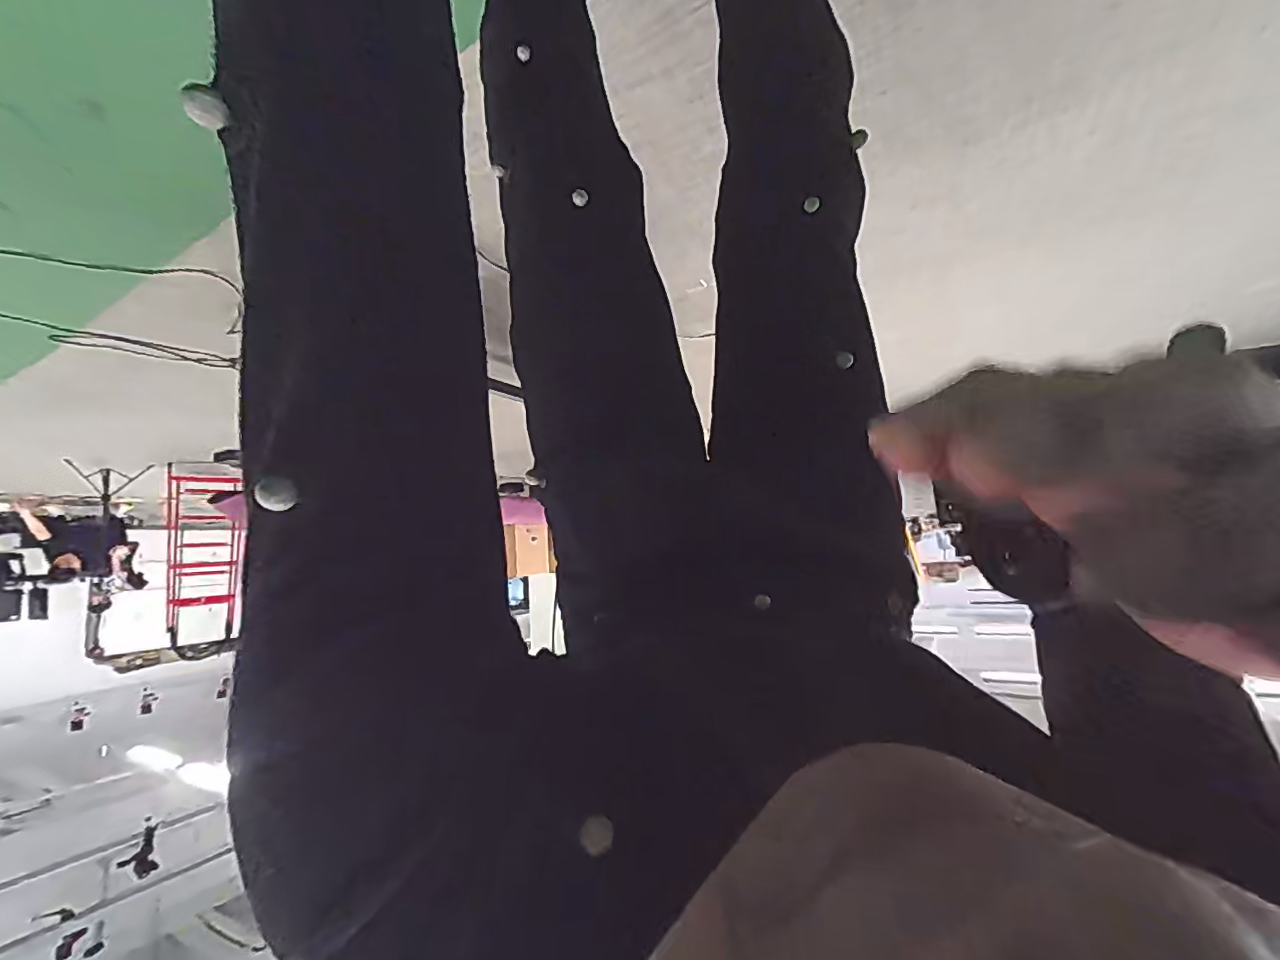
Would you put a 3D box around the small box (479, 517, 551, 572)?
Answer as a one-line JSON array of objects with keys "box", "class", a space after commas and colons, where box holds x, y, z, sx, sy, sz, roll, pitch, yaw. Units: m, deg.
[{"box": [-0.414, 0.215, 1.793, 0.179, 0.176, 0.168, -8, 172, 28], "class": "small box"}]
